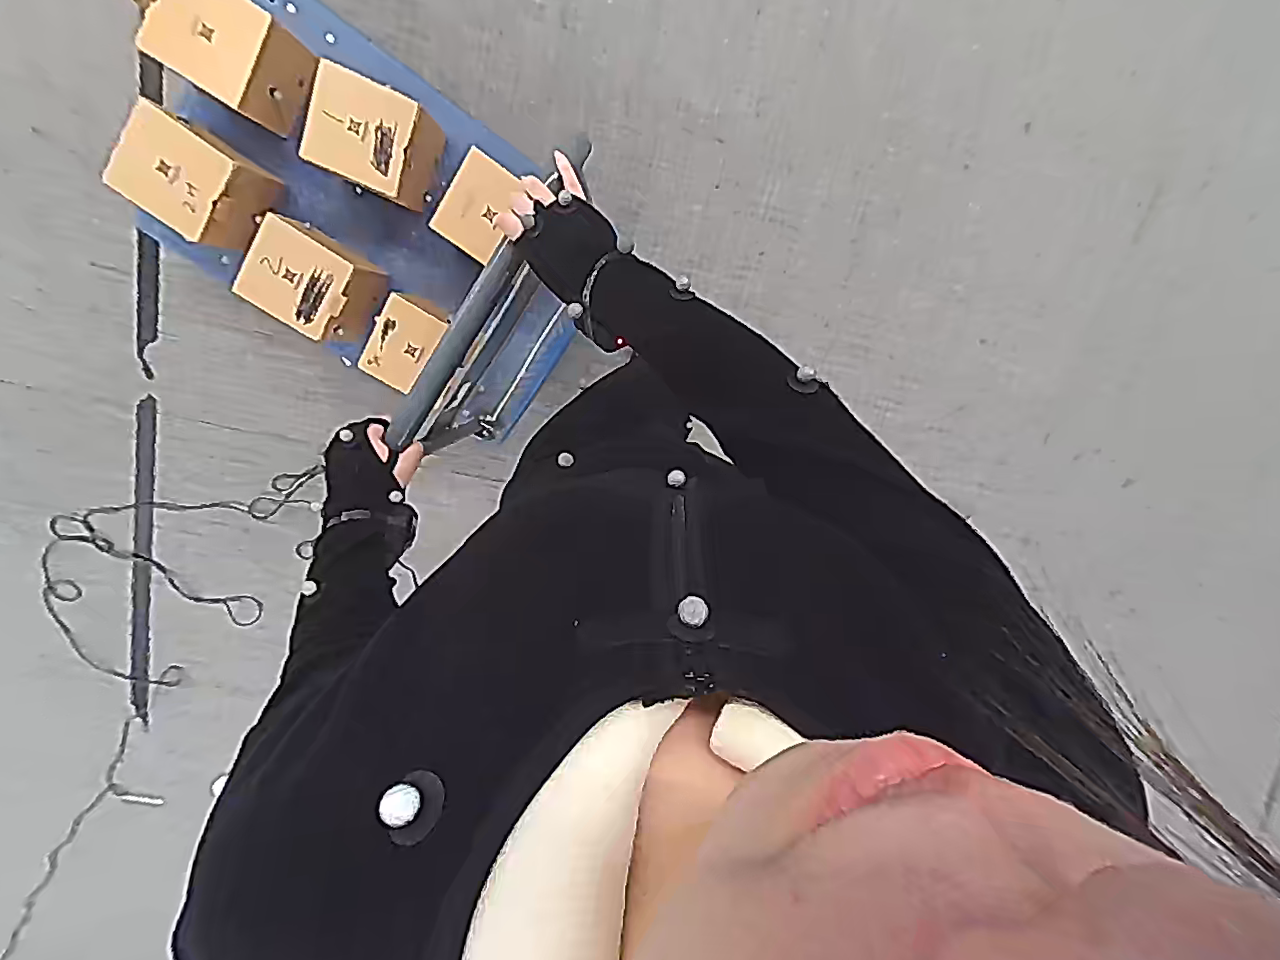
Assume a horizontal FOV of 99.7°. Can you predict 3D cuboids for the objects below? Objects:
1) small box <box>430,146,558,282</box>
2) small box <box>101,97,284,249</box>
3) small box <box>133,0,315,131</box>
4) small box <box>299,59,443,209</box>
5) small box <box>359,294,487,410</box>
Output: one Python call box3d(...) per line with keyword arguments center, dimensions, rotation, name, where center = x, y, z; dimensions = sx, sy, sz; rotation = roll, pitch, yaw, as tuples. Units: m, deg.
box3d(center=(-0.279, -0.514, 1.079), dimensions=(0.179, 0.176, 0.168), rotation=(33, 101, -12), name="small box")
box3d(center=(-0.833, -0.562, 1.025), dimensions=(0.179, 0.176, 0.168), rotation=(34, 101, -13), name="small box")
box3d(center=(-0.732, -0.769, 0.974), dimensions=(0.179, 0.176, 0.168), rotation=(30, 102, -11), name="small box")
box3d(center=(-0.499, -0.638, 1.026), dimensions=(0.179, 0.176, 0.168), rotation=(21, 103, -8), name="small box")
box3d(center=(-0.443, -0.271, 1.135), dimensions=(0.179, 0.176, 0.168), rotation=(29, 101, -12), name="small box")
